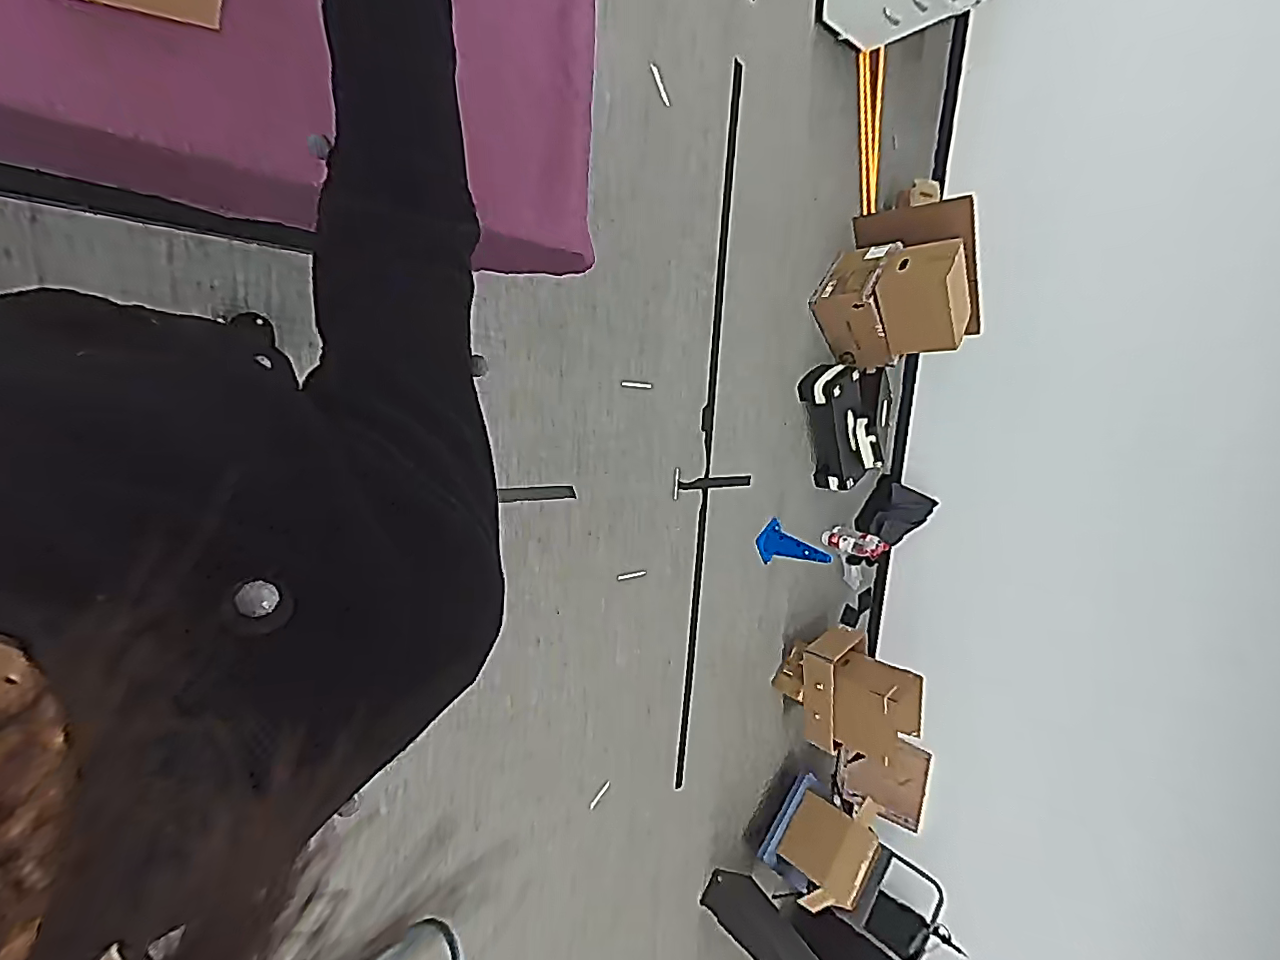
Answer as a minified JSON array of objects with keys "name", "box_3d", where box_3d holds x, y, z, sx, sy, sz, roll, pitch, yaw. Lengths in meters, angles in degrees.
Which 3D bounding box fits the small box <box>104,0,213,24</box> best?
[{"name":"small box","box_3d":[-0.543,-0.598,0.532,0.179,0.176,0.168,-18,111,-39]}]
